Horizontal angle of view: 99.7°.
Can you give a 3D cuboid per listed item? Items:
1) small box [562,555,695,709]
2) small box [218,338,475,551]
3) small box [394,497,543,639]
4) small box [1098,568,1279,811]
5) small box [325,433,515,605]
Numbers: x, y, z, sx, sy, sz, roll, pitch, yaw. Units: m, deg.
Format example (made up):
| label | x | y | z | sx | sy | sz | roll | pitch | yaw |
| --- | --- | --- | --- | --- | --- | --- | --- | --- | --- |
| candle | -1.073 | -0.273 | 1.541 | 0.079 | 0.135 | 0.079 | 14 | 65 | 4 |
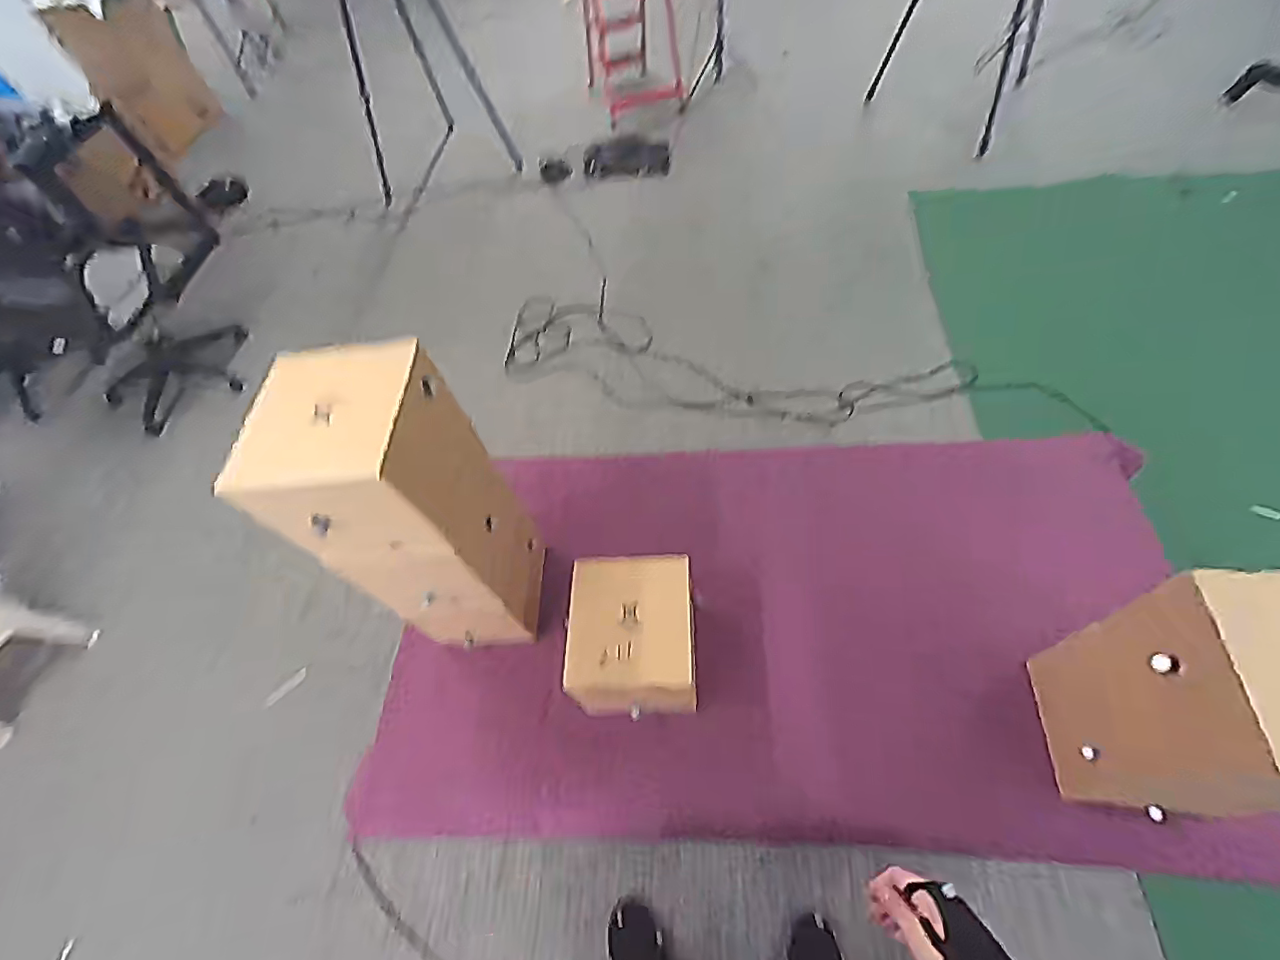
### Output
| label | x | y | z | sx | sy | sz | roll | pitch | yaw |
| --- | --- | --- | --- | --- | --- | --- | --- | --- | --- |
| small box | -0.007 | 0.223 | 0.788 | 0.168 | 0.176 | 0.179 | -2 | 57 | 7 |
| small box | -0.302 | -0.029 | 0.604 | 0.168 | 0.176 | 0.179 | -5 | 57 | 7 |
| small box | -0.262 | 0.146 | 0.876 | 0.168 | 0.176 | 0.179 | -4 | 58 | 7 |
| small box | 0.590 | 0.203 | 0.514 | 0.168 | 0.176 | 0.179 | 2 | 57 | 11 |
| small box | -0.281 | 0.057 | 0.740 | 0.168 | 0.176 | 0.179 | -4 | 58 | 7 |
